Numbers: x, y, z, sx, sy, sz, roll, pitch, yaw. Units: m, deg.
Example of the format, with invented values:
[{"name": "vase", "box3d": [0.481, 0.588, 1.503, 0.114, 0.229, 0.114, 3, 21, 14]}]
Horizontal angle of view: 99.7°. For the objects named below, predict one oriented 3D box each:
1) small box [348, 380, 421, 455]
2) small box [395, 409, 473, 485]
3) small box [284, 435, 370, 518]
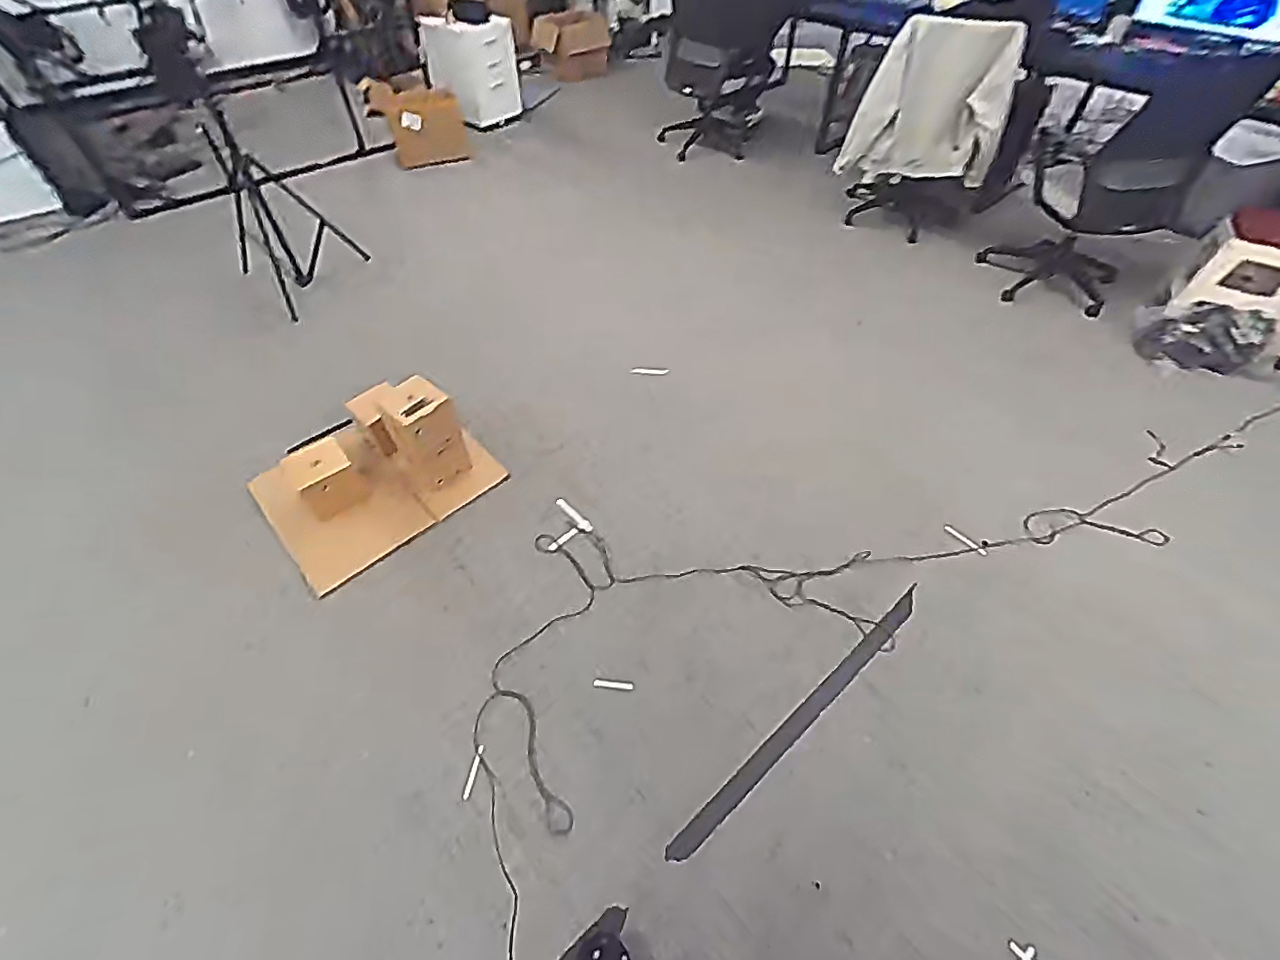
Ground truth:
[{"name": "small box", "box3d": [-0.914, -0.228, 1.972, 0.168, 0.176, 0.179, 34, 59, 26]}, {"name": "small box", "box3d": [-0.705, -0.108, 1.872, 0.179, 0.176, 0.168, 35, 59, 25]}, {"name": "small box", "box3d": [-1.026, -0.010, 1.791, 0.179, 0.176, 0.168, -34, 59, -23]}]
